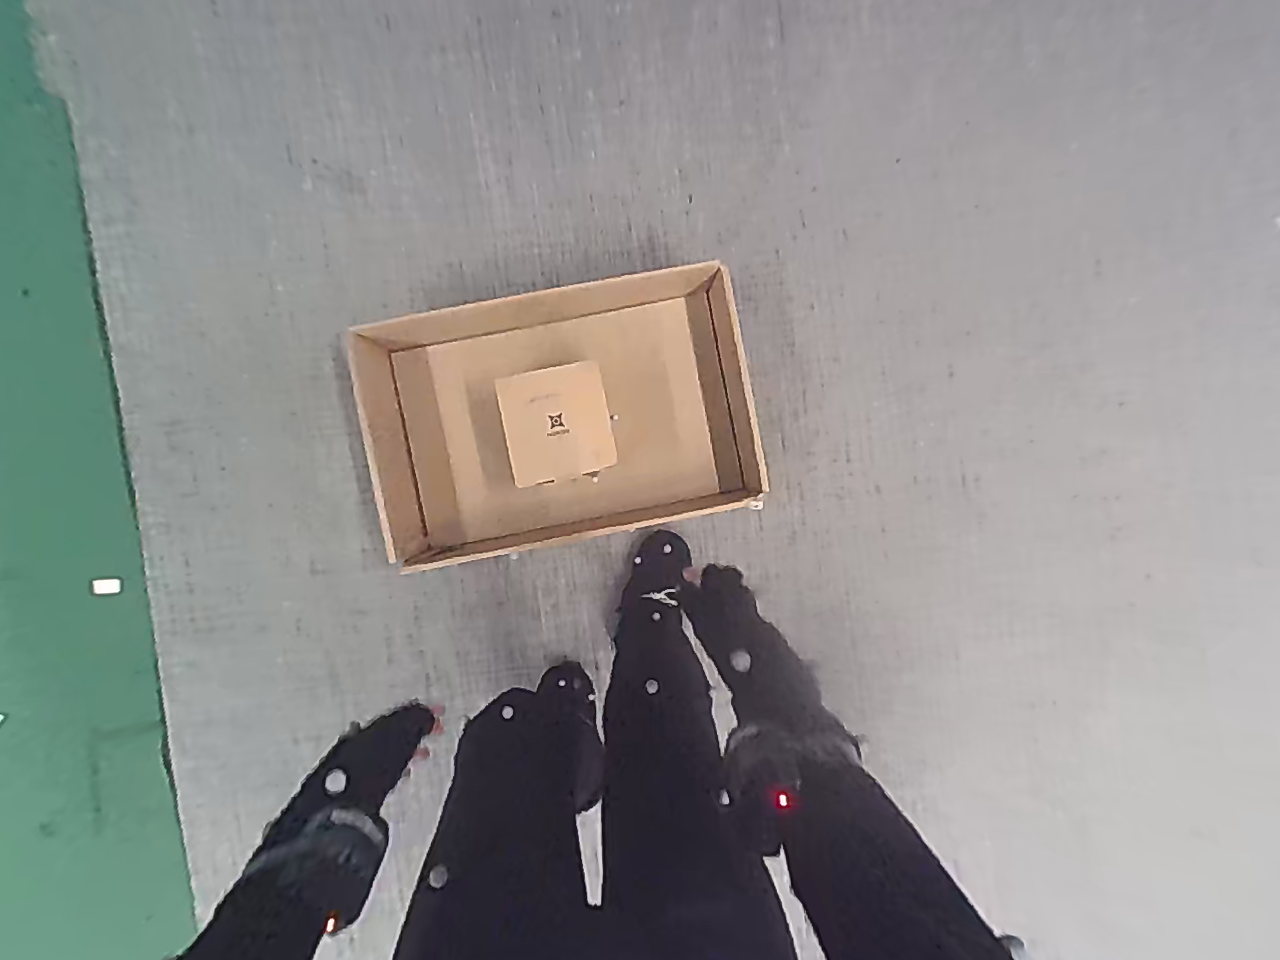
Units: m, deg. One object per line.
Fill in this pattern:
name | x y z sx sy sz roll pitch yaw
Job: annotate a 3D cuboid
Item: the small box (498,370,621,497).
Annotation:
small box | -0.127 -0.074 0.922 0.168 0.176 0.179 -12 90 -2
